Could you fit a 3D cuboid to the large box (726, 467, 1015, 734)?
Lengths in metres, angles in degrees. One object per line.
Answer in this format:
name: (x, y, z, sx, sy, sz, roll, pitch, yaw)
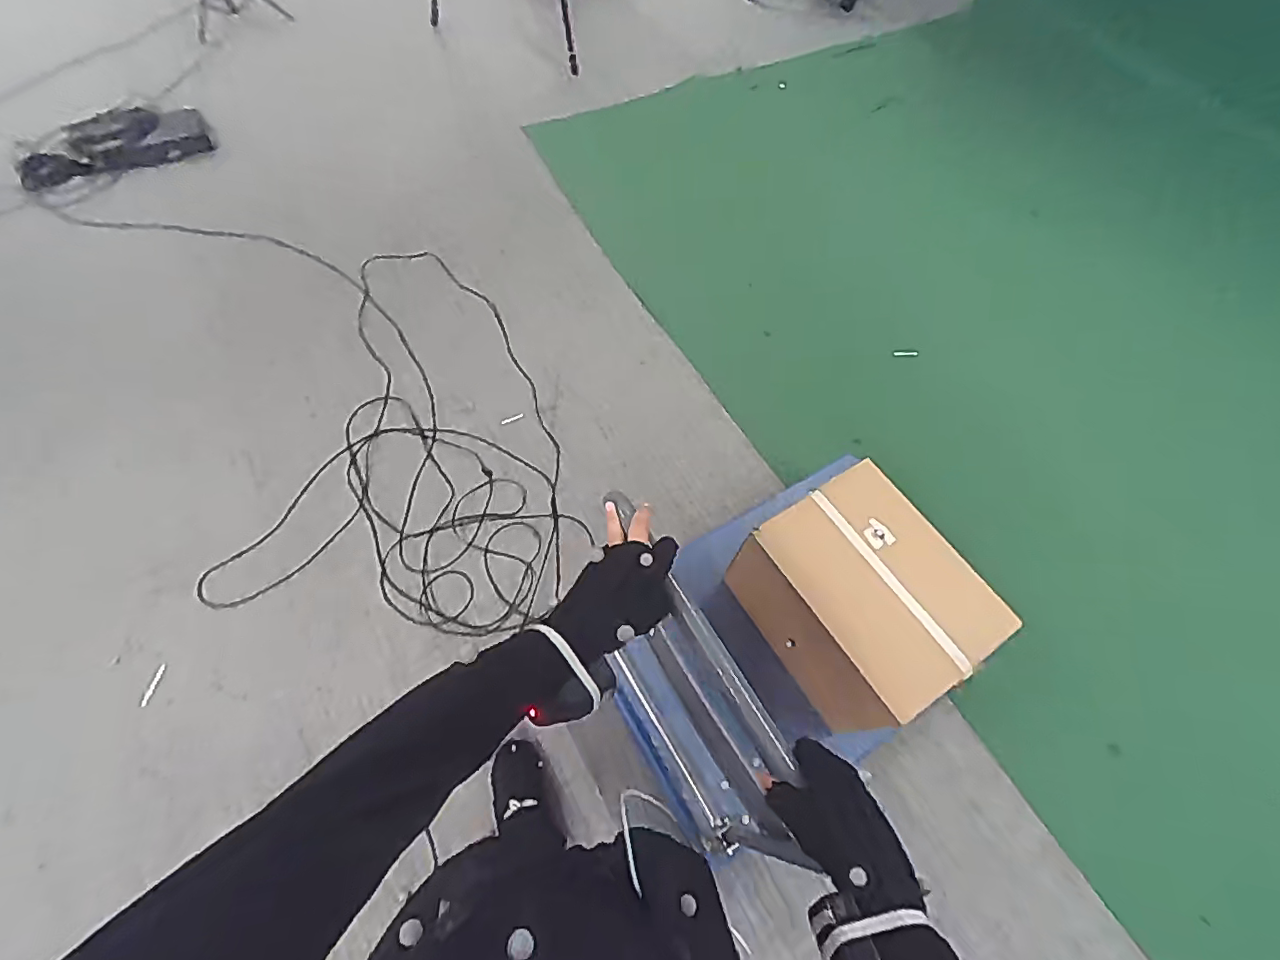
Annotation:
large box: (0.441, 0.258, 1.137, 0.320, 0.320, 0.408, -29, 67, -17)
